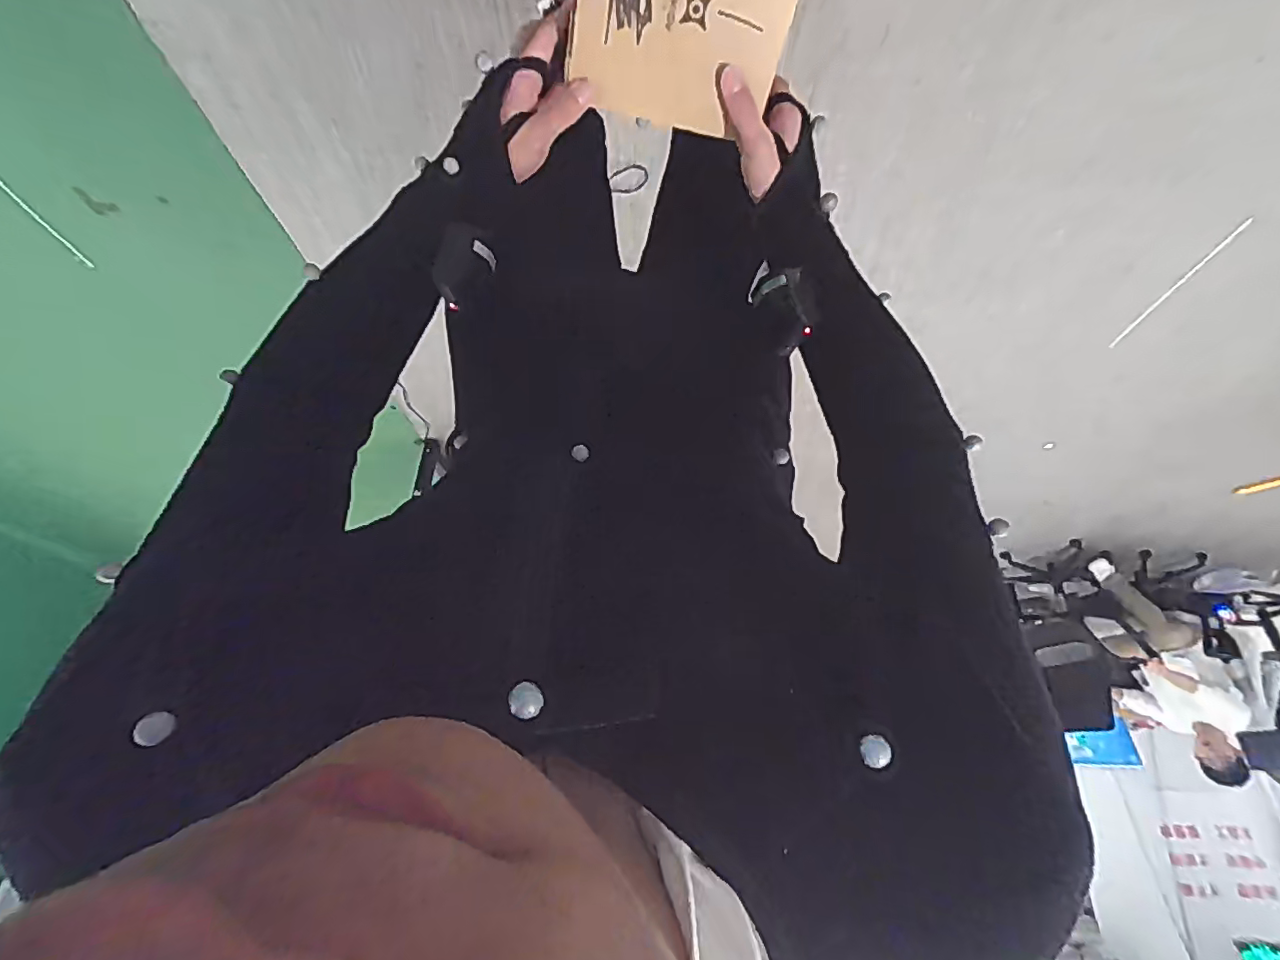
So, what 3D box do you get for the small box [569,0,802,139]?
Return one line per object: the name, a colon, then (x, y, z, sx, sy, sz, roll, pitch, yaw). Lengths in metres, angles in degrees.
small box: (0.035, -0.433, 0.479, 0.179, 0.176, 0.168, 5, 135, -11)
